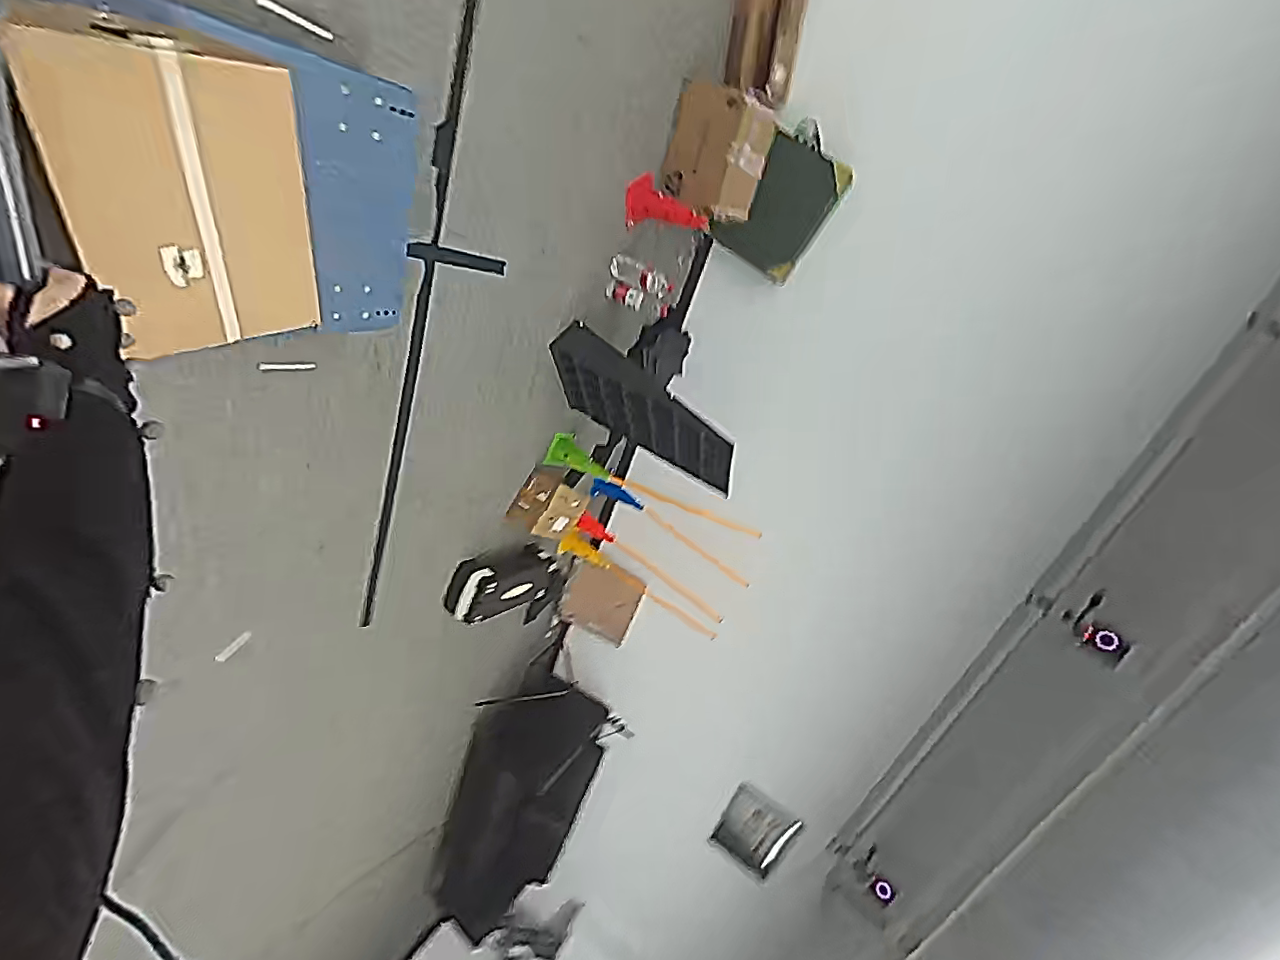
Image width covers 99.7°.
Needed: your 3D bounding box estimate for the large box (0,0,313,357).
[{"bbox_3d":[-0.779,-0.469,0.848,0.320,0.320,0.408,-36,151,-48],"label":"large box"}]
